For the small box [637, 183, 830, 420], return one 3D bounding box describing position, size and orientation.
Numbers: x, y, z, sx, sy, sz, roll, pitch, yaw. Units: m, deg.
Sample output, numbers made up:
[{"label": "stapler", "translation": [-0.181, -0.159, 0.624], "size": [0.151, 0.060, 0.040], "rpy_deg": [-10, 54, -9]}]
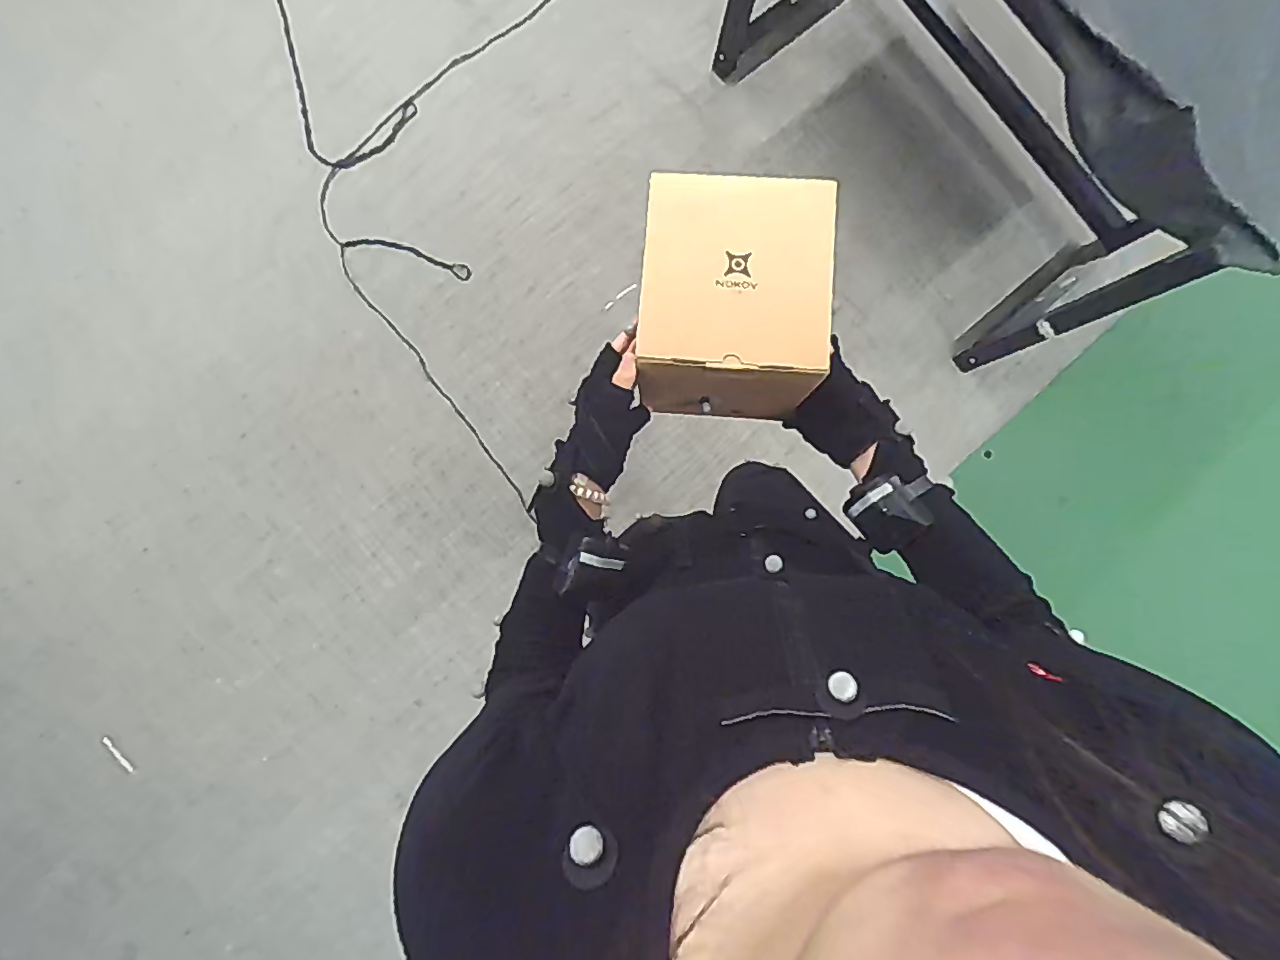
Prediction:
[{"label": "small box", "translation": [0.086, -0.171, 0.561], "size": [0.168, 0.176, 0.179], "rpy_deg": [4, 84, 3]}]
